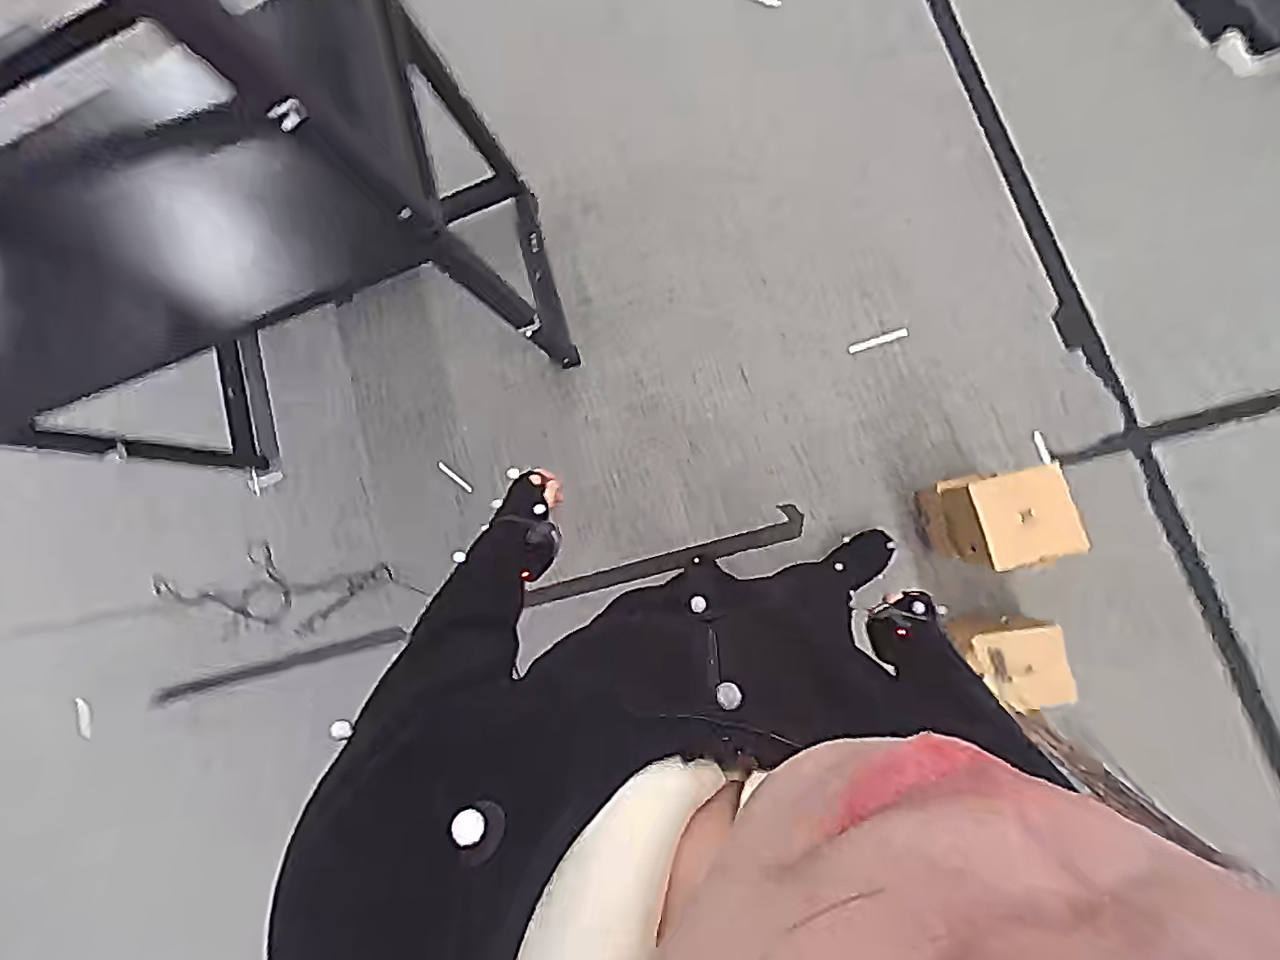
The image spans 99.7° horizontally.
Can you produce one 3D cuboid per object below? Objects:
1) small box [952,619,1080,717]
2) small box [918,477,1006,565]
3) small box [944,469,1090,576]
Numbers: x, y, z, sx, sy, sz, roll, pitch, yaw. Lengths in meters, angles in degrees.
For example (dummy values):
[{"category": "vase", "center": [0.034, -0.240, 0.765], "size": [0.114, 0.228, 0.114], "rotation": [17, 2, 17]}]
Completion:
[{"category": "small box", "center": [0.834, 0.419, 1.224], "size": [0.179, 0.176, 0.168], "rotation": [-11, 83, 10]}, {"category": "small box", "center": [0.774, 0.094, 1.264], "size": [0.168, 0.176, 0.179], "rotation": [-11, 84, 11]}, {"category": "small box", "center": [0.753, 0.086, 1.101], "size": [0.168, 0.176, 0.179], "rotation": [-15, 82, 10]}]
